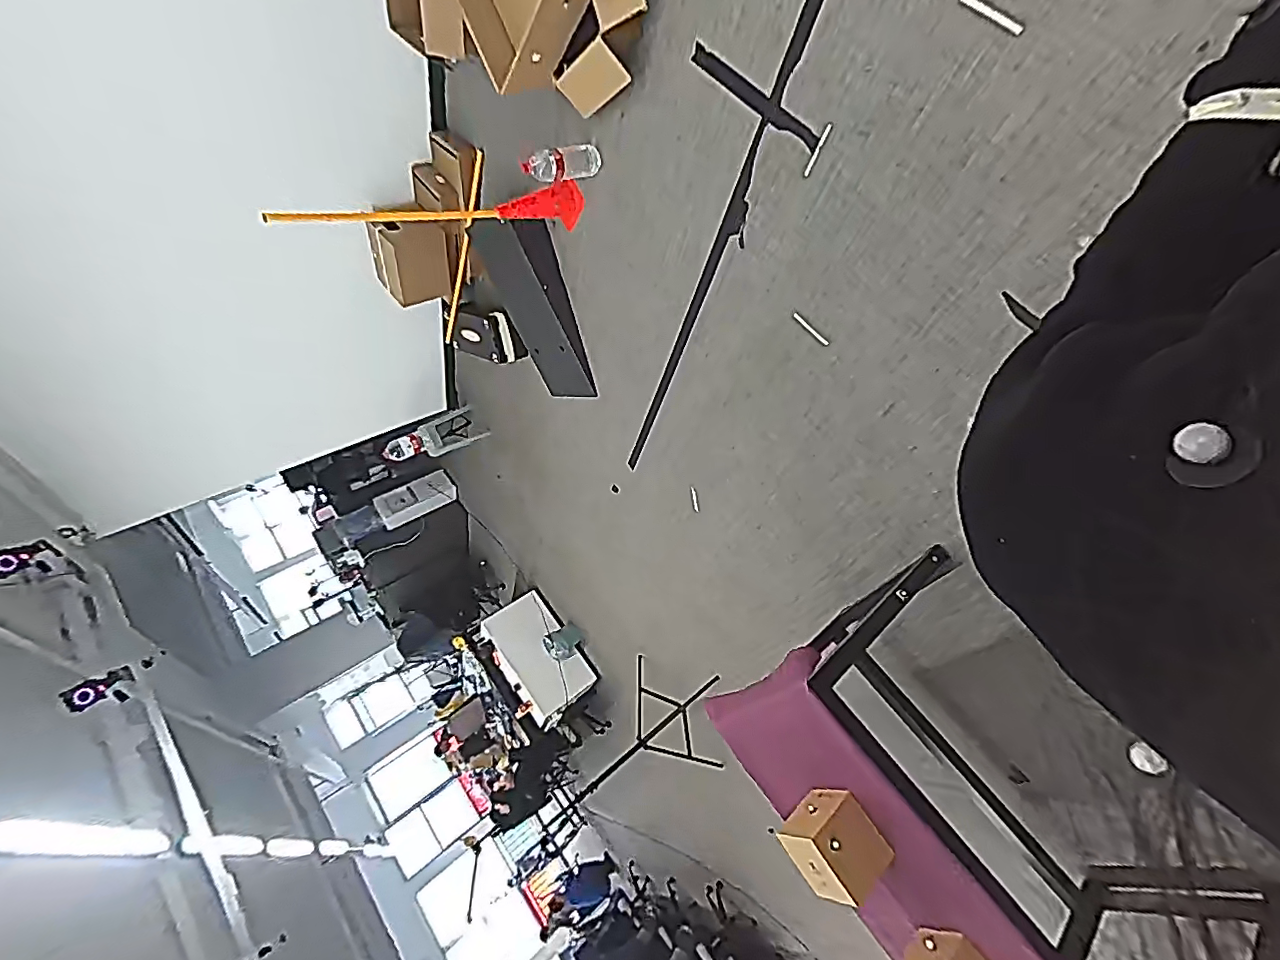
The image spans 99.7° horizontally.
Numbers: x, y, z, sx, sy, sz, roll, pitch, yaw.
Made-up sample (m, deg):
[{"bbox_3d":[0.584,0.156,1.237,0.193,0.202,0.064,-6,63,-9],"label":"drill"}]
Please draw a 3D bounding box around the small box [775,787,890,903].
[{"bbox_3d":[0.487,0.913,1.374,0.179,0.176,0.168,53,149,12],"label":"small box"}]

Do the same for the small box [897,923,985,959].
[{"bbox_3d":[0.724,1.189,1.255,0.179,0.176,0.168,49,147,20],"label":"small box"}]
